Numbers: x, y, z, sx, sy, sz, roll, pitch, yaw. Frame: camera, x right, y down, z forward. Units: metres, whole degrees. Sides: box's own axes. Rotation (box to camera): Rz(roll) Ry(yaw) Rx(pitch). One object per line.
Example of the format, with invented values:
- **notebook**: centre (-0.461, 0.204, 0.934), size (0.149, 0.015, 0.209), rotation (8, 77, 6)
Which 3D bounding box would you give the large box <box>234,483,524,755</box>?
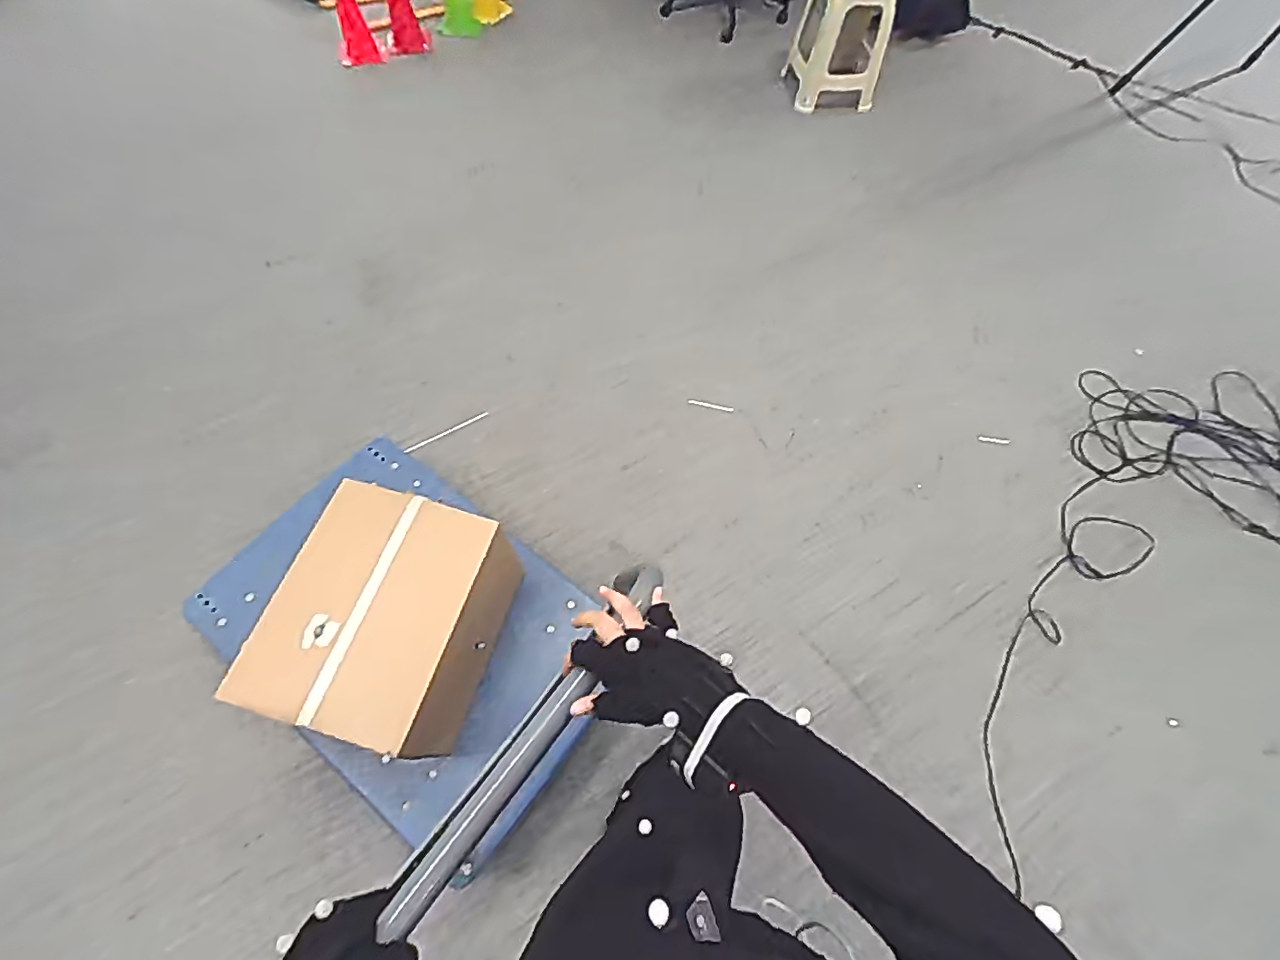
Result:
- **large box**: centre (-0.453, 0.275, 1.058), size (0.320, 0.320, 0.408), rotation (15, 65, 5)
